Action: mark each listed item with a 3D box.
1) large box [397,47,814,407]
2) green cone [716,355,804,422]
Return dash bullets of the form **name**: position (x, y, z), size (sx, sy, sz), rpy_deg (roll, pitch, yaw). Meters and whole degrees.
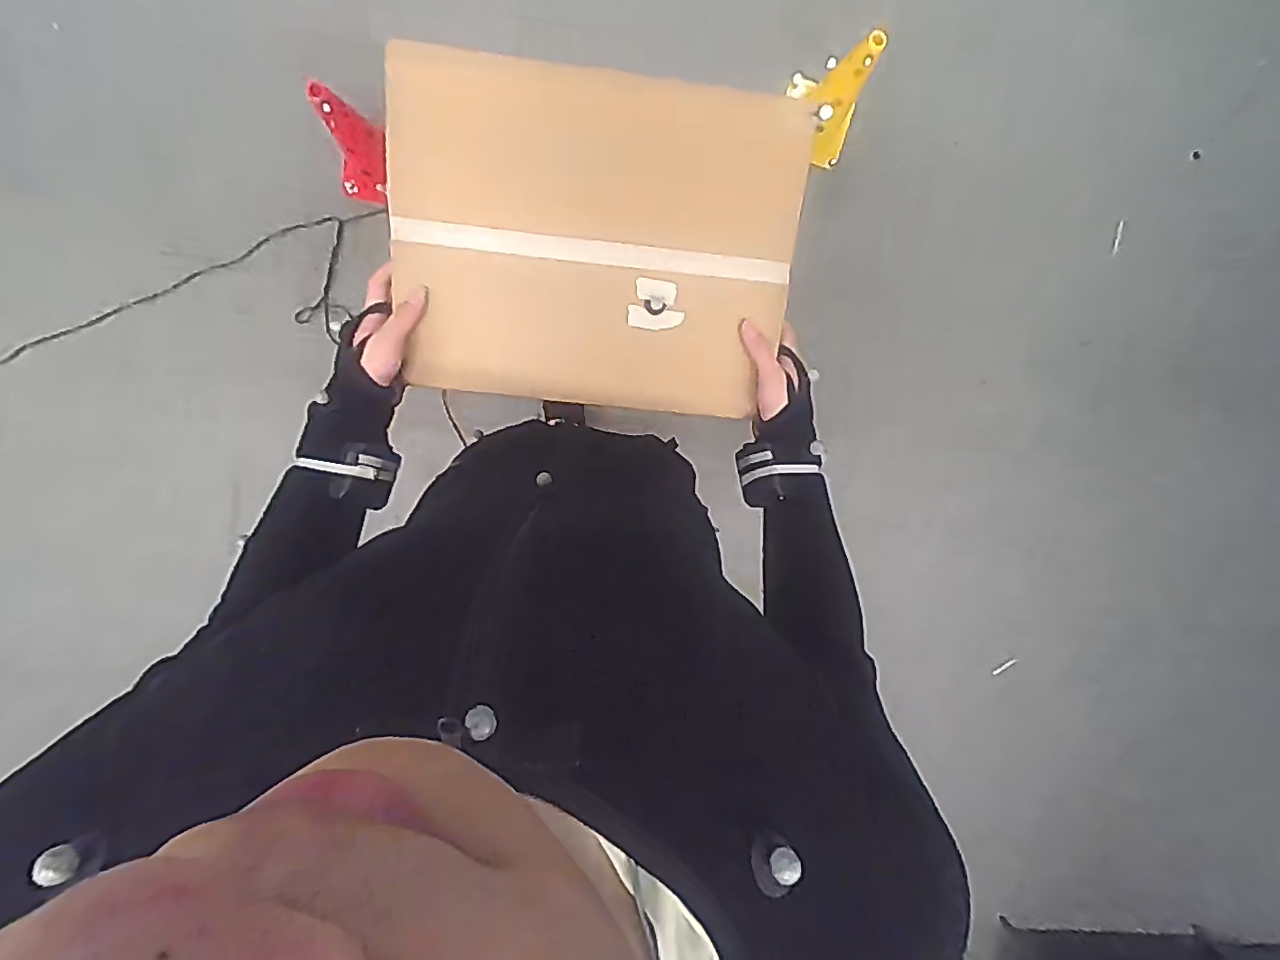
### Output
- **large box**: position (-0.049, -0.286, 0.696), size (0.408, 0.320, 0.320), rpy_deg (5, 109, -5)
- **green cone**: position (0.354, -0.265, 1.454), size (0.200, 0.368, 0.202), rpy_deg (12, 96, -7)
